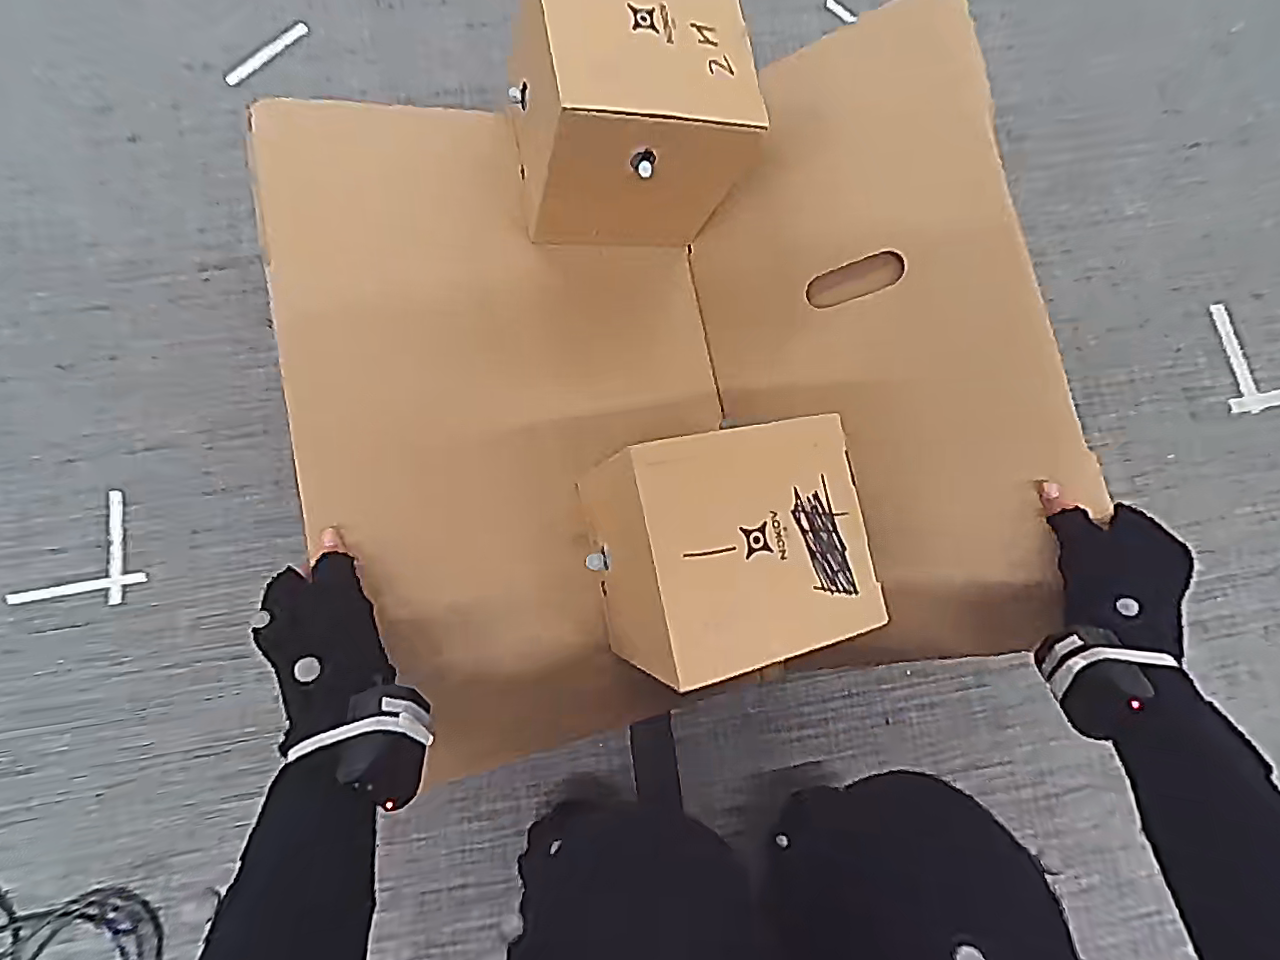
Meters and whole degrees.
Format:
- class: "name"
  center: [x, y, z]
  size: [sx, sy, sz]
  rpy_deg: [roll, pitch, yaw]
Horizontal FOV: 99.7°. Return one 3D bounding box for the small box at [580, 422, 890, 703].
- class: "small box"
  center: [0.063, 0.058, 0.448]
  size: [0.179, 0.176, 0.168]
  rpy_deg: [-11, 86, -19]
